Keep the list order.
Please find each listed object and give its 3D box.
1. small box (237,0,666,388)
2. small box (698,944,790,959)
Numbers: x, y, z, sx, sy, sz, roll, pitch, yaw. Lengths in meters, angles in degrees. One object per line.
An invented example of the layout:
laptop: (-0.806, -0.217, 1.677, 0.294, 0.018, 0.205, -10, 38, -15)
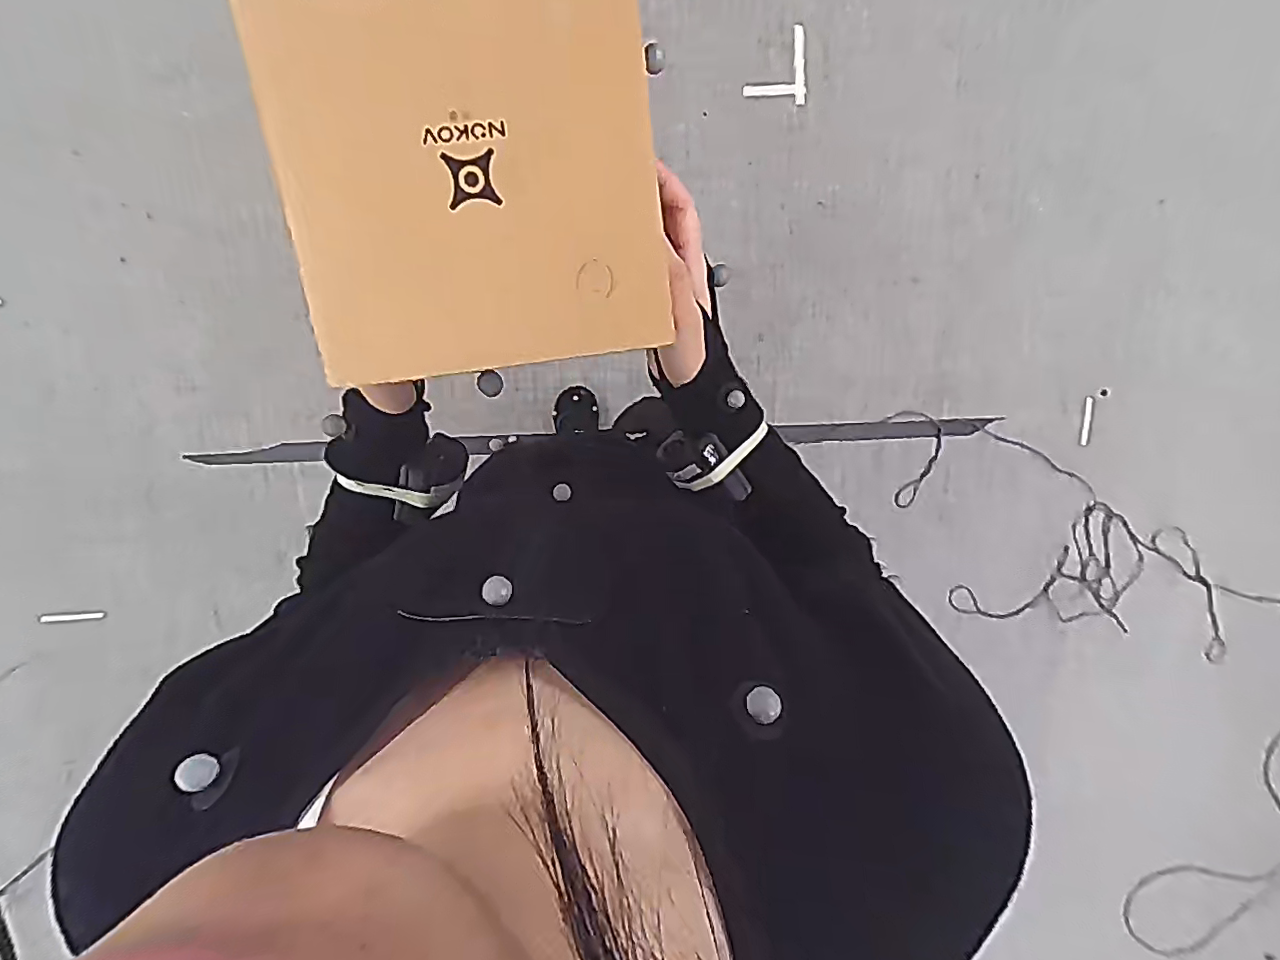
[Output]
small box: (-0.080, -0.151, 0.312, 0.168, 0.176, 0.179, -7, 101, -4)
small box: (0.188, 0.917, 0.885, 0.168, 0.176, 0.179, -2, 101, -5)
